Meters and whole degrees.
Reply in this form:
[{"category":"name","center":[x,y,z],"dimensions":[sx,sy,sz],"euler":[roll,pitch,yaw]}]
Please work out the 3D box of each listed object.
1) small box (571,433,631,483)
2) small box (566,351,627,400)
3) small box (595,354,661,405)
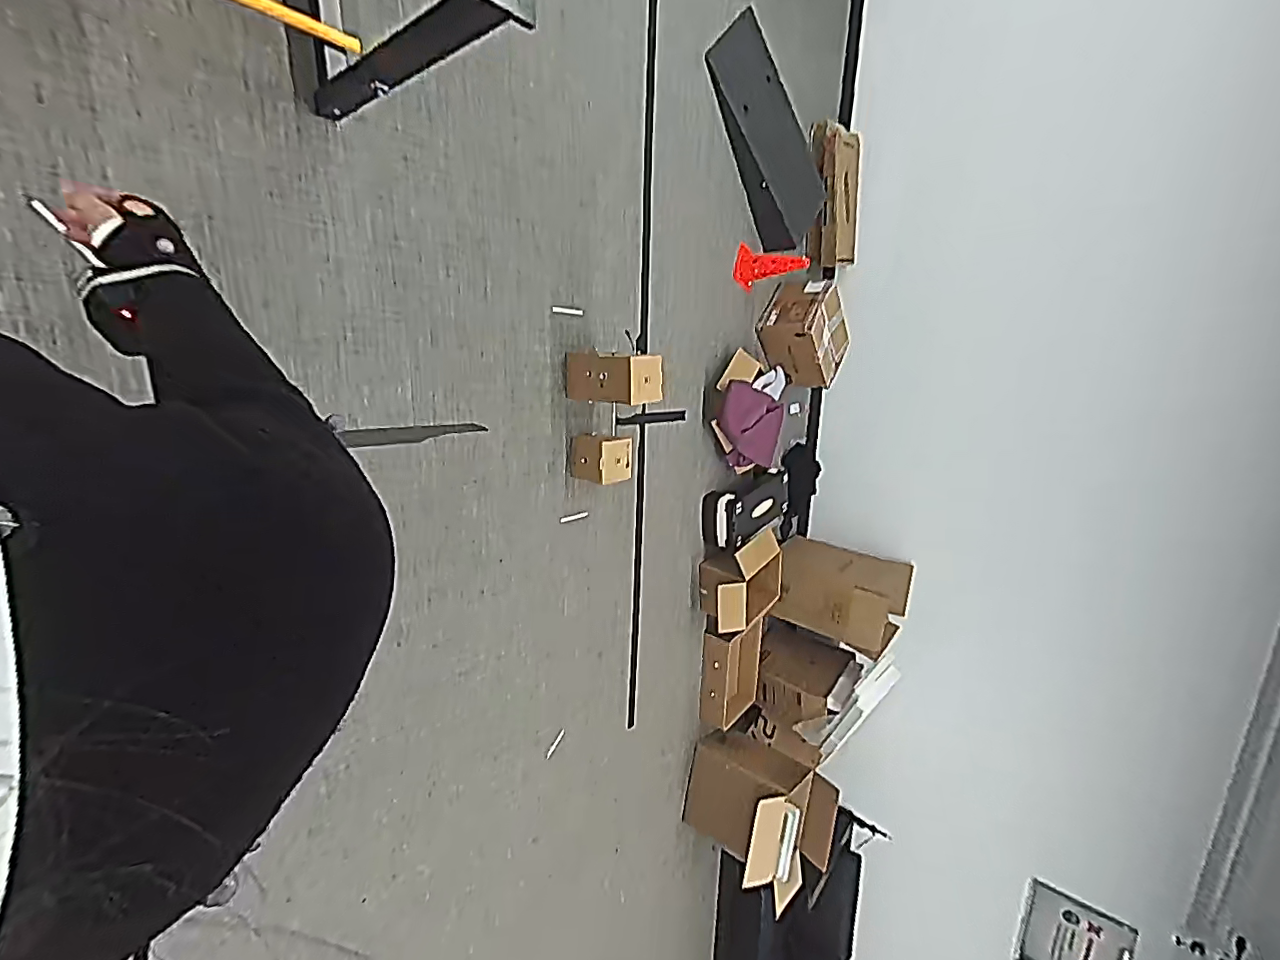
[{"category":"small box","center":[-0.156,-0.091,2.133],"dimensions":[0.179,0.176,0.168],"euler":[-13,110,-48]},{"category":"small box","center":[-0.165,-0.396,2.033],"dimensions":[0.168,0.176,0.179],"euler":[-15,112,-48]},{"category":"small box","center":[-0.042,-0.364,1.932],"dimensions":[0.179,0.176,0.168],"euler":[-18,112,-46]}]
